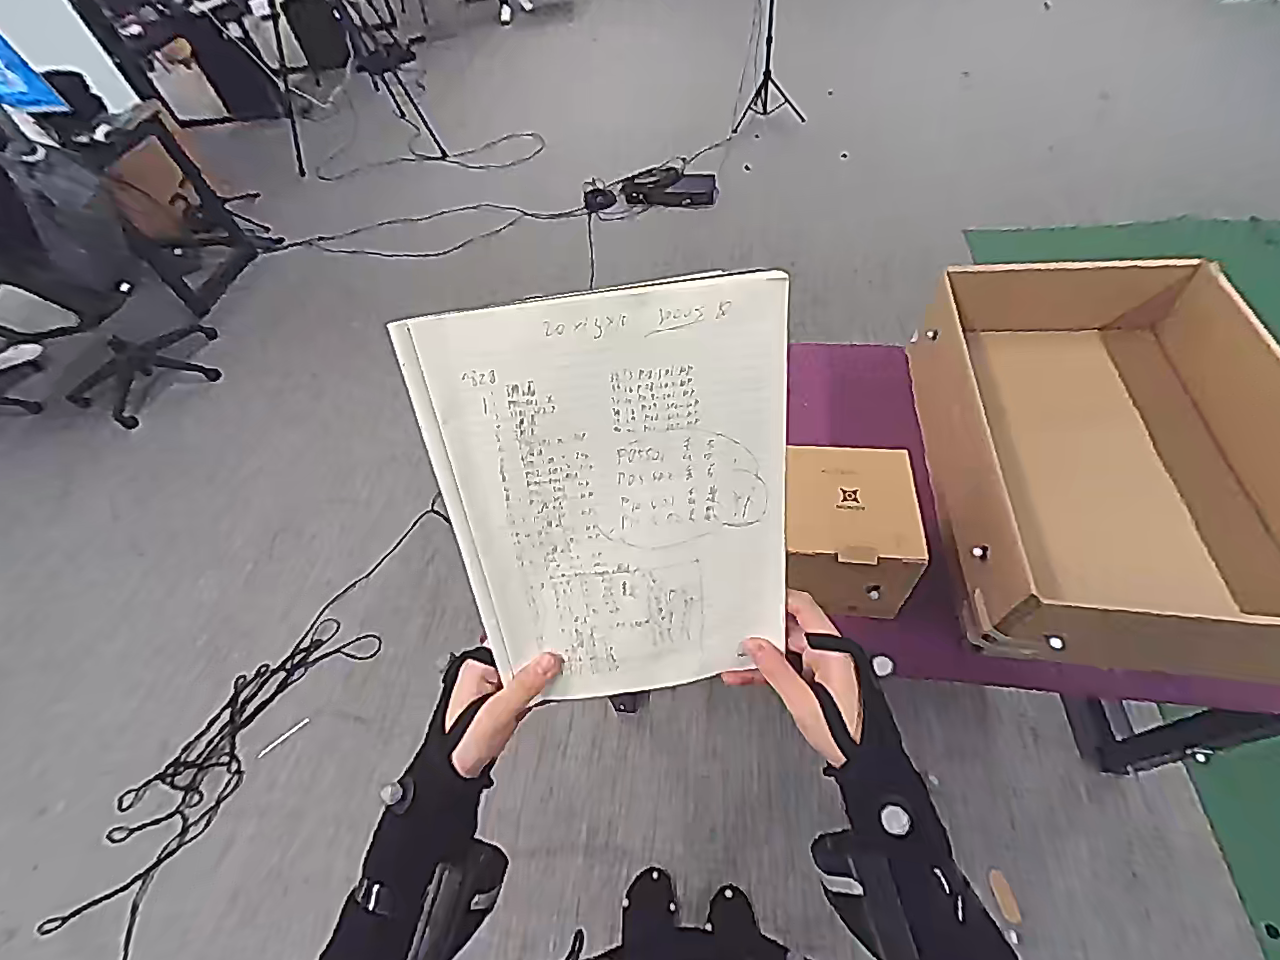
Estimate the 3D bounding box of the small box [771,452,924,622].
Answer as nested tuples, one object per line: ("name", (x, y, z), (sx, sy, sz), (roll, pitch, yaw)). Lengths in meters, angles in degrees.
("small box", (0.276, 0.082, 0.758), (0.168, 0.176, 0.179), (3, 52, 10))
